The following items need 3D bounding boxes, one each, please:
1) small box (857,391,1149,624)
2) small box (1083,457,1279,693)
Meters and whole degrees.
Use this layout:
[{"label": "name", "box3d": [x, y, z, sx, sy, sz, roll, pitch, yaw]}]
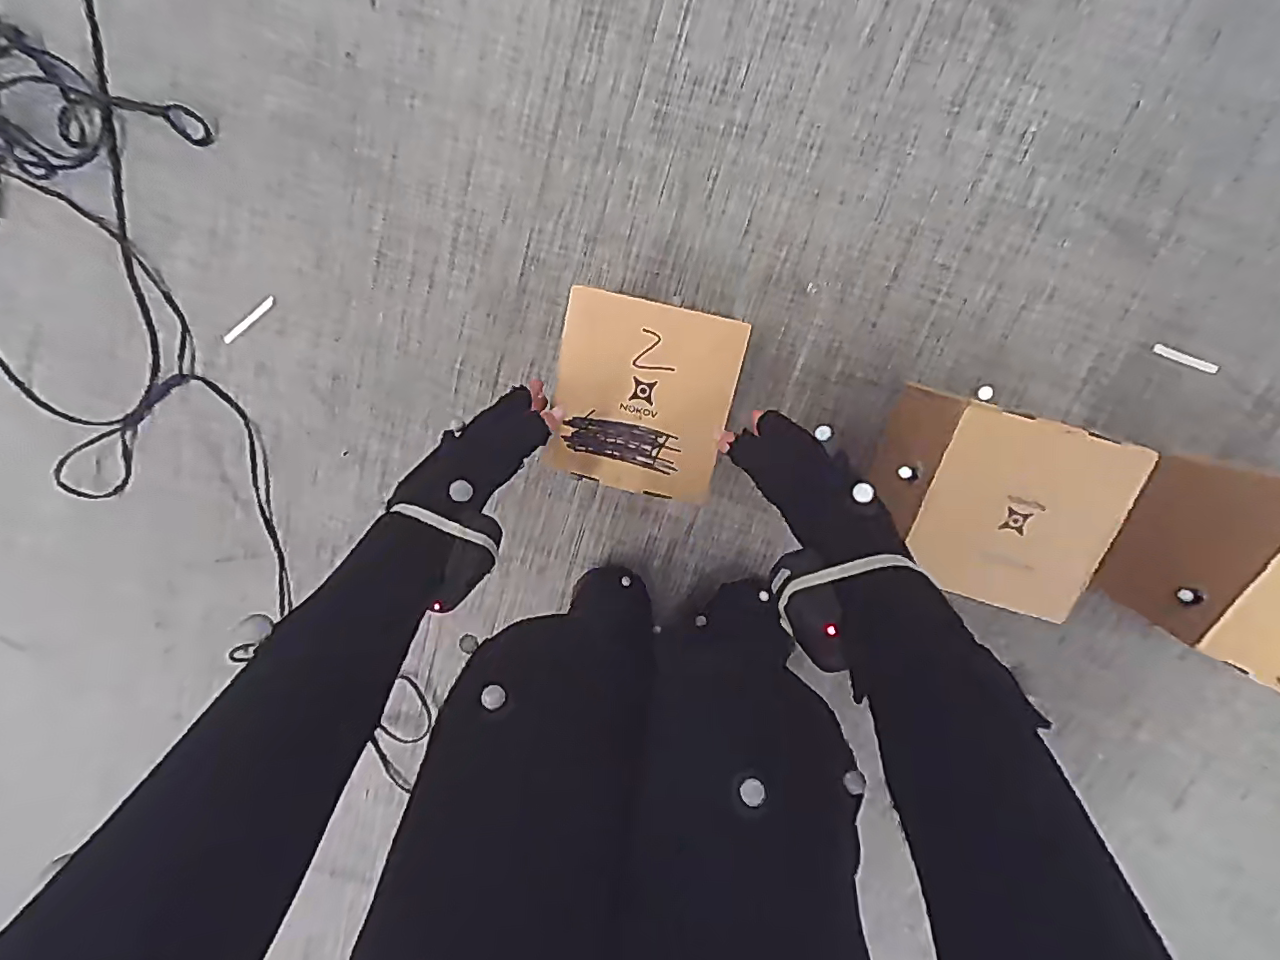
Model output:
[{"label": "small box", "box3d": [0.349, 0.014, 0.567, 0.168, 0.176, 0.179, 16, 108, 4]}, {"label": "small box", "box3d": [0.622, 0.095, 0.557, 0.168, 0.176, 0.179, 25, 107, -1]}]
